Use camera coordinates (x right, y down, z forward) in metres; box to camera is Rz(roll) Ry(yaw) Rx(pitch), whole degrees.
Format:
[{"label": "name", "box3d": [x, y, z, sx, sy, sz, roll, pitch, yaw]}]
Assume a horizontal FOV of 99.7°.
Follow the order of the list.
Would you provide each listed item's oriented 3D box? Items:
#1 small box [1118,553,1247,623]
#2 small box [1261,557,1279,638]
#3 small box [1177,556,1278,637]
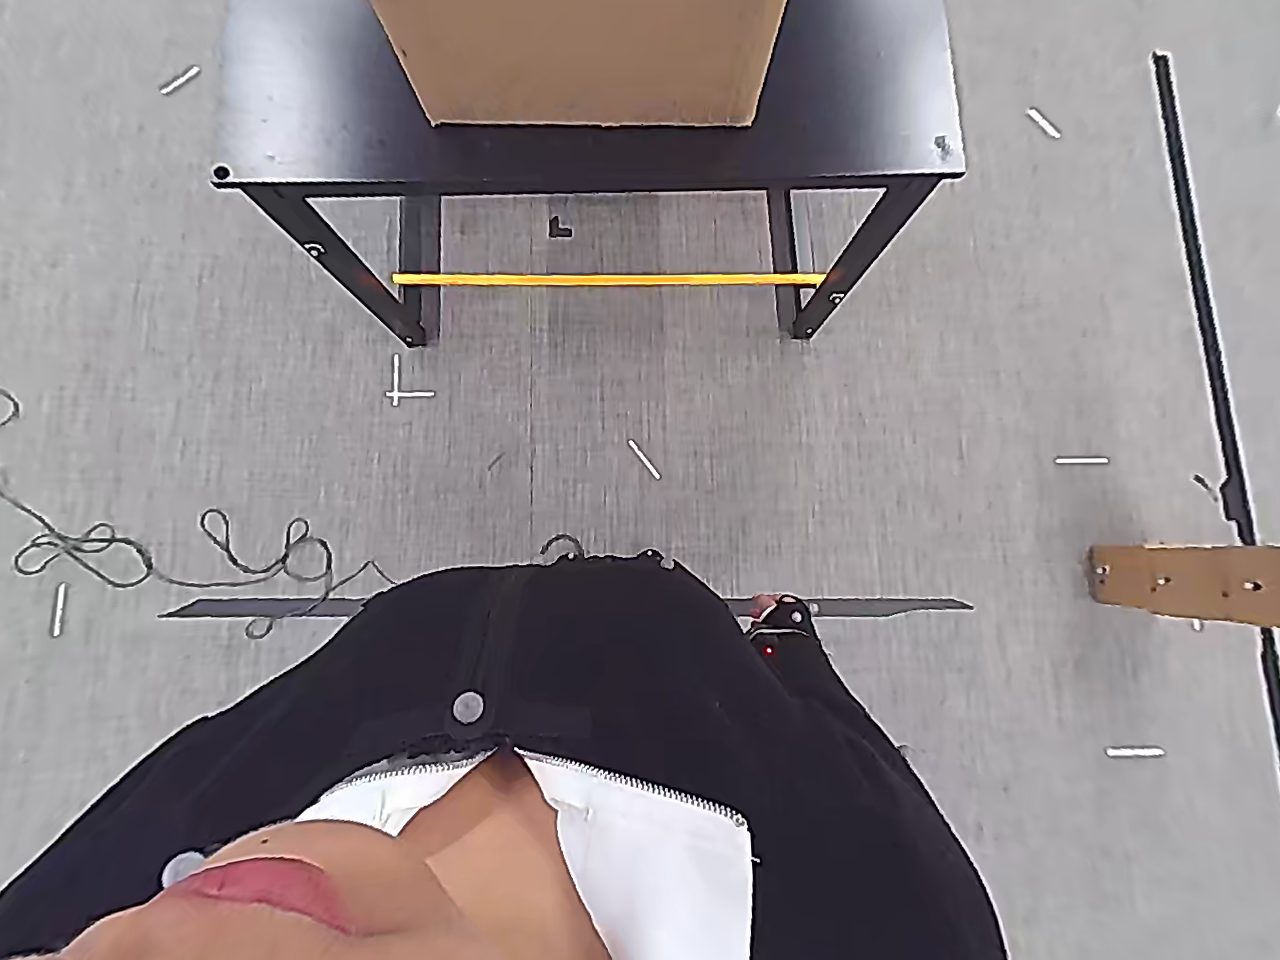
[{"label": "small box", "box3d": [1.381, 0.269, 1.376, 0.179, 0.176, 0.168, -1, 82, 0]}, {"label": "small box", "box3d": [1.378, 0.234, 1.049, 0.179, 0.176, 0.168, 0, 82, -1]}, {"label": "small box", "box3d": [1.376, 0.256, 1.211, 0.179, 0.176, 0.168, -1, 82, -1]}]
